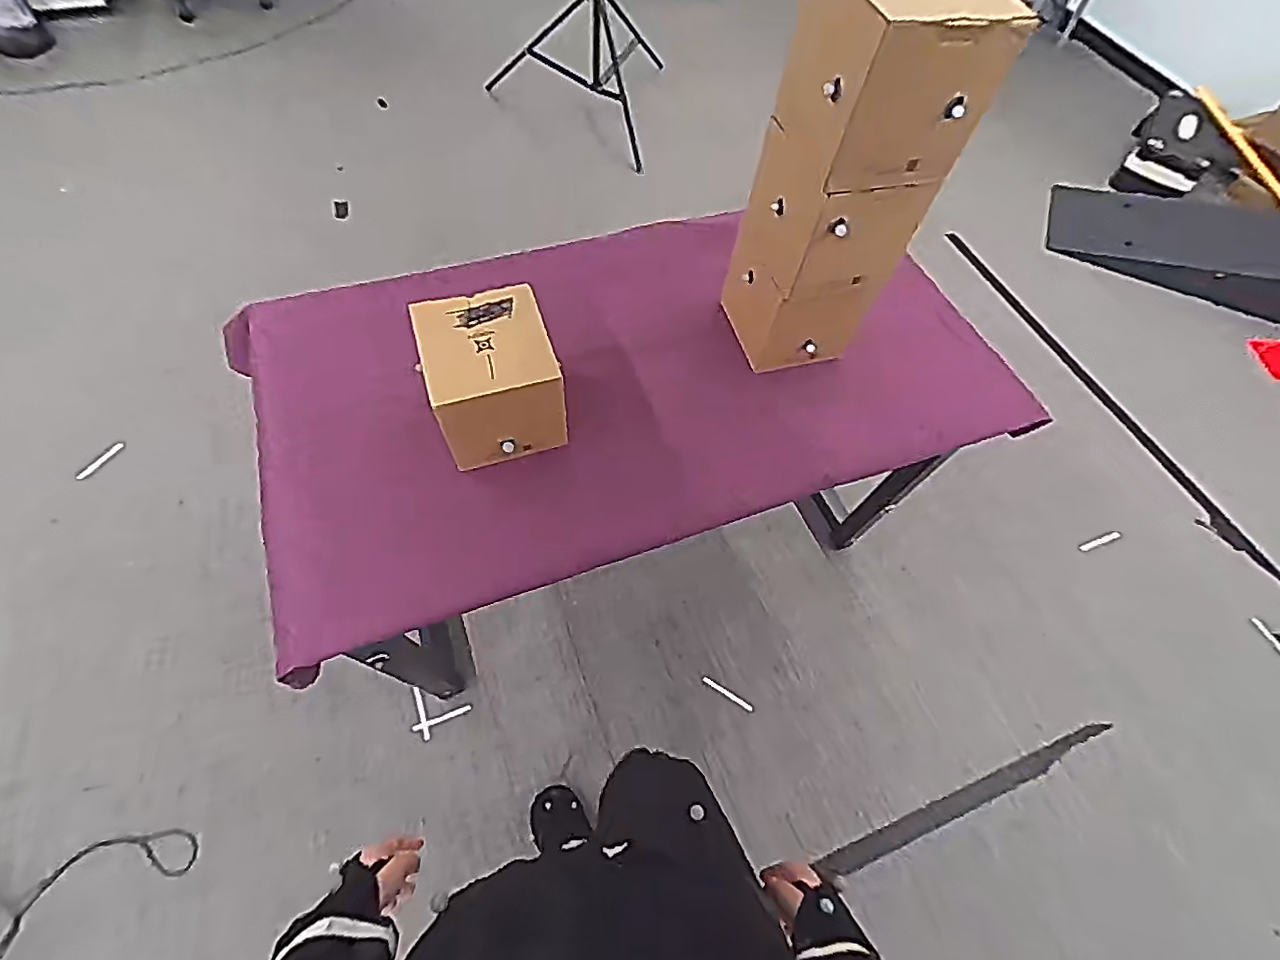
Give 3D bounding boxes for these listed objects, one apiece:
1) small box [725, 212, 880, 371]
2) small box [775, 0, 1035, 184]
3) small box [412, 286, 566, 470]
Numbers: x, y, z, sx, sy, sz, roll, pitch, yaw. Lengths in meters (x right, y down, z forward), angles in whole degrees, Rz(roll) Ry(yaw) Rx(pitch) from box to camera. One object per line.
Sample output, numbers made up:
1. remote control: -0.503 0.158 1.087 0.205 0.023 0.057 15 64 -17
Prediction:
1. small box: 0.254 -0.310 0.899 0.168 0.176 0.179 -13 64 -10
2. small box: 0.274 -0.457 0.608 0.168 0.176 0.179 -10 62 -11
3. small box: -0.208 -0.141 0.773 0.168 0.176 0.179 -16 65 -12
